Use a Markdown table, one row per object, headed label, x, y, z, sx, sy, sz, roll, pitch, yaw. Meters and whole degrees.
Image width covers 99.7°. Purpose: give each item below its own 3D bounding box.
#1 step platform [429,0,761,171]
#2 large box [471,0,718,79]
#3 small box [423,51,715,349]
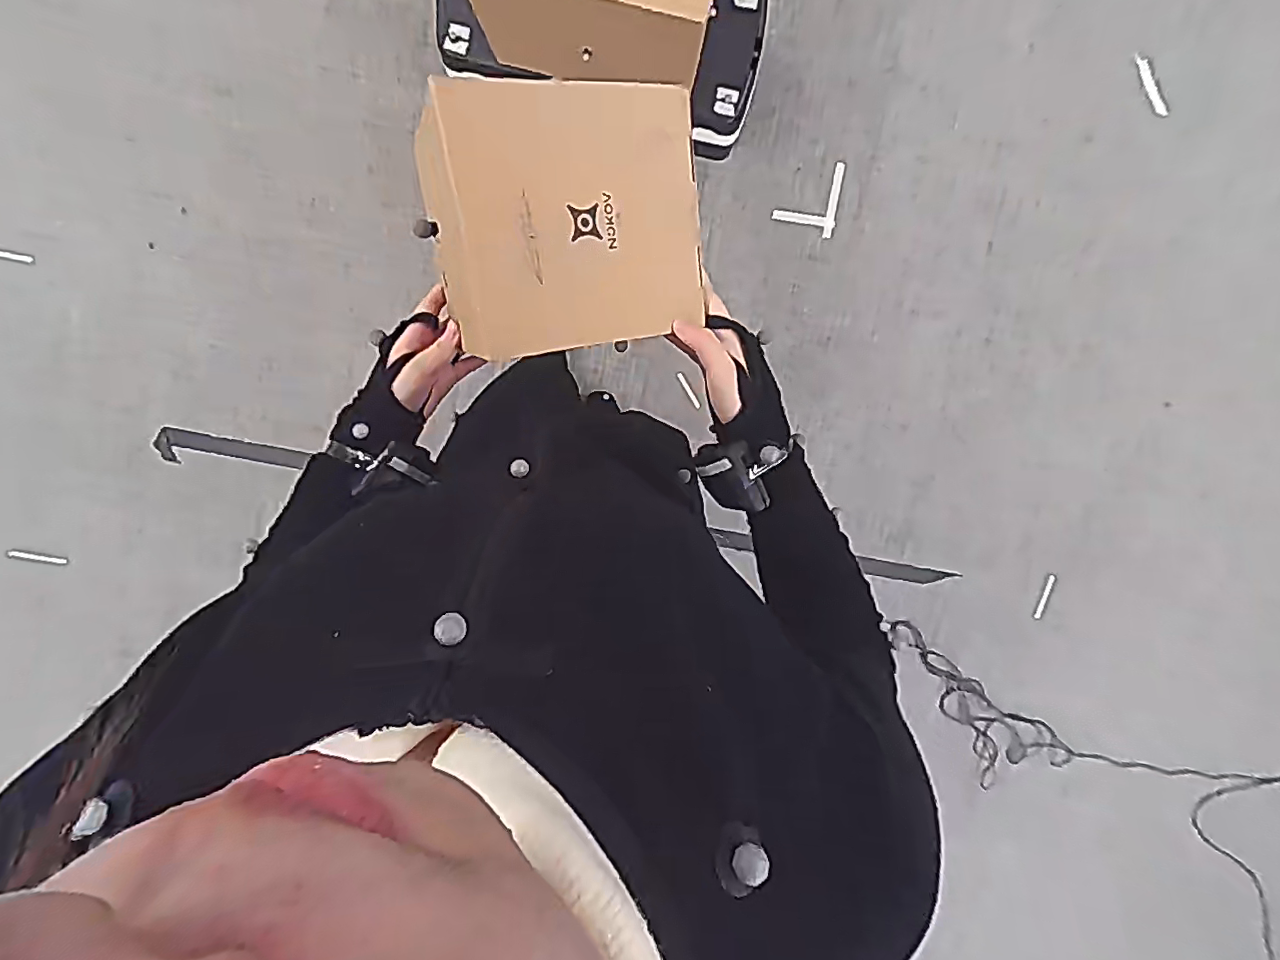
| label | x | y | z | sx | sy | sz | roll | pitch | yaw |
| --- | --- | --- | --- | --- | --- | --- | --- | --- | --- |
| step platform | -0.091 | -0.942 | 1.175 | 0.684 | 0.204 | 0.286 | 16 | 102 | -3 |
| large box | -0.055 | -0.911 | 0.938 | 0.408 | 0.320 | 0.320 | 11 | 102 | -2 |
| small box | -0.060 | -0.200 | 0.428 | 0.179 | 0.176 | 0.168 | -13 | 110 | -22 |
